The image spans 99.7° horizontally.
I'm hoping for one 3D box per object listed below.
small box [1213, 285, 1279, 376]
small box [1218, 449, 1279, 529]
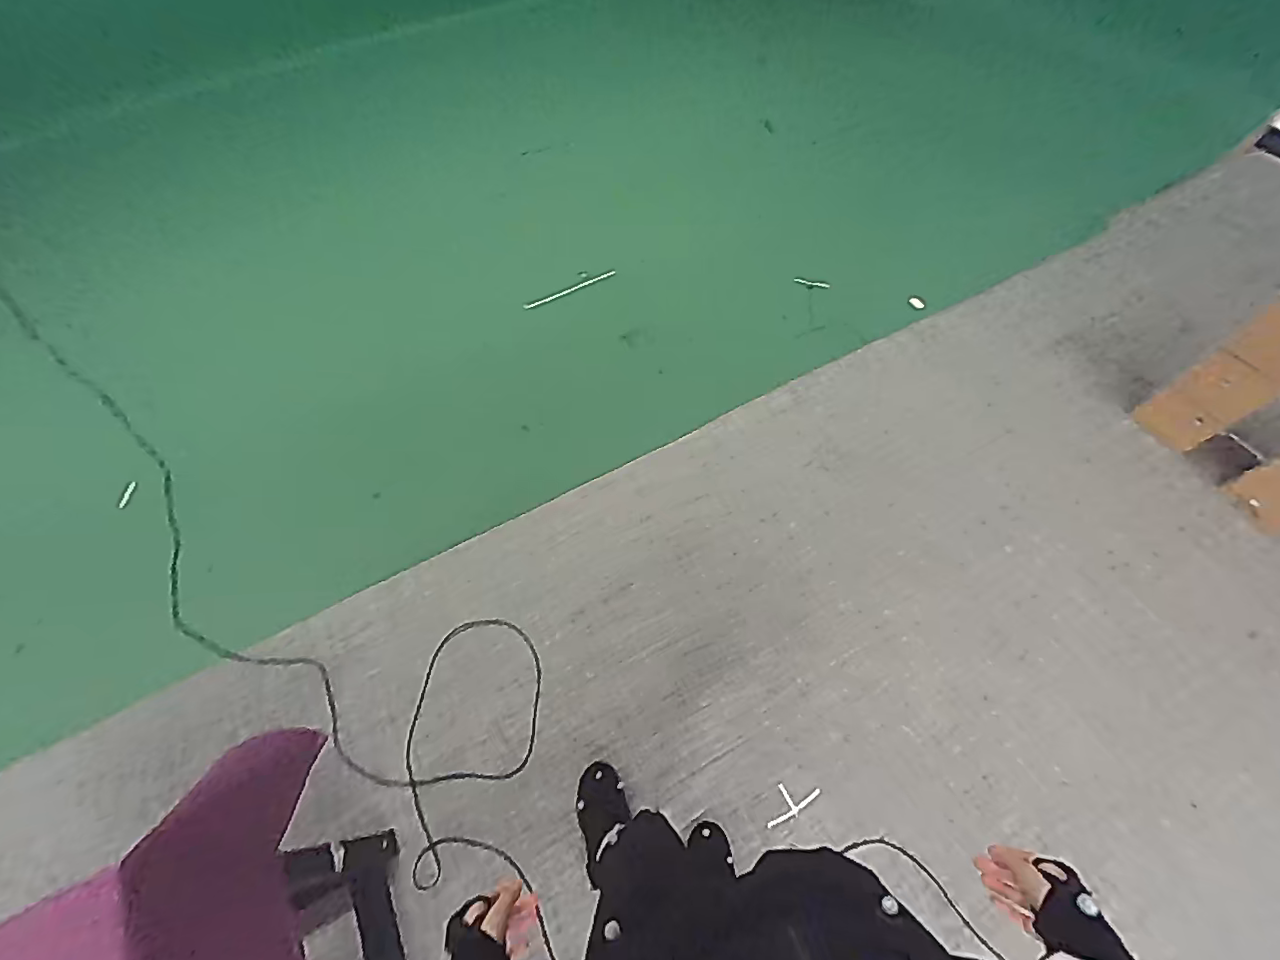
[{"bbox_3d":[1.597,-0.377,1.318,0.168,0.176,0.179,-28,62,-12],"label":"small box"},{"bbox_3d":[1.768,0.011,1.472,0.179,0.176,0.168,-19,61,-7],"label":"small box"}]
